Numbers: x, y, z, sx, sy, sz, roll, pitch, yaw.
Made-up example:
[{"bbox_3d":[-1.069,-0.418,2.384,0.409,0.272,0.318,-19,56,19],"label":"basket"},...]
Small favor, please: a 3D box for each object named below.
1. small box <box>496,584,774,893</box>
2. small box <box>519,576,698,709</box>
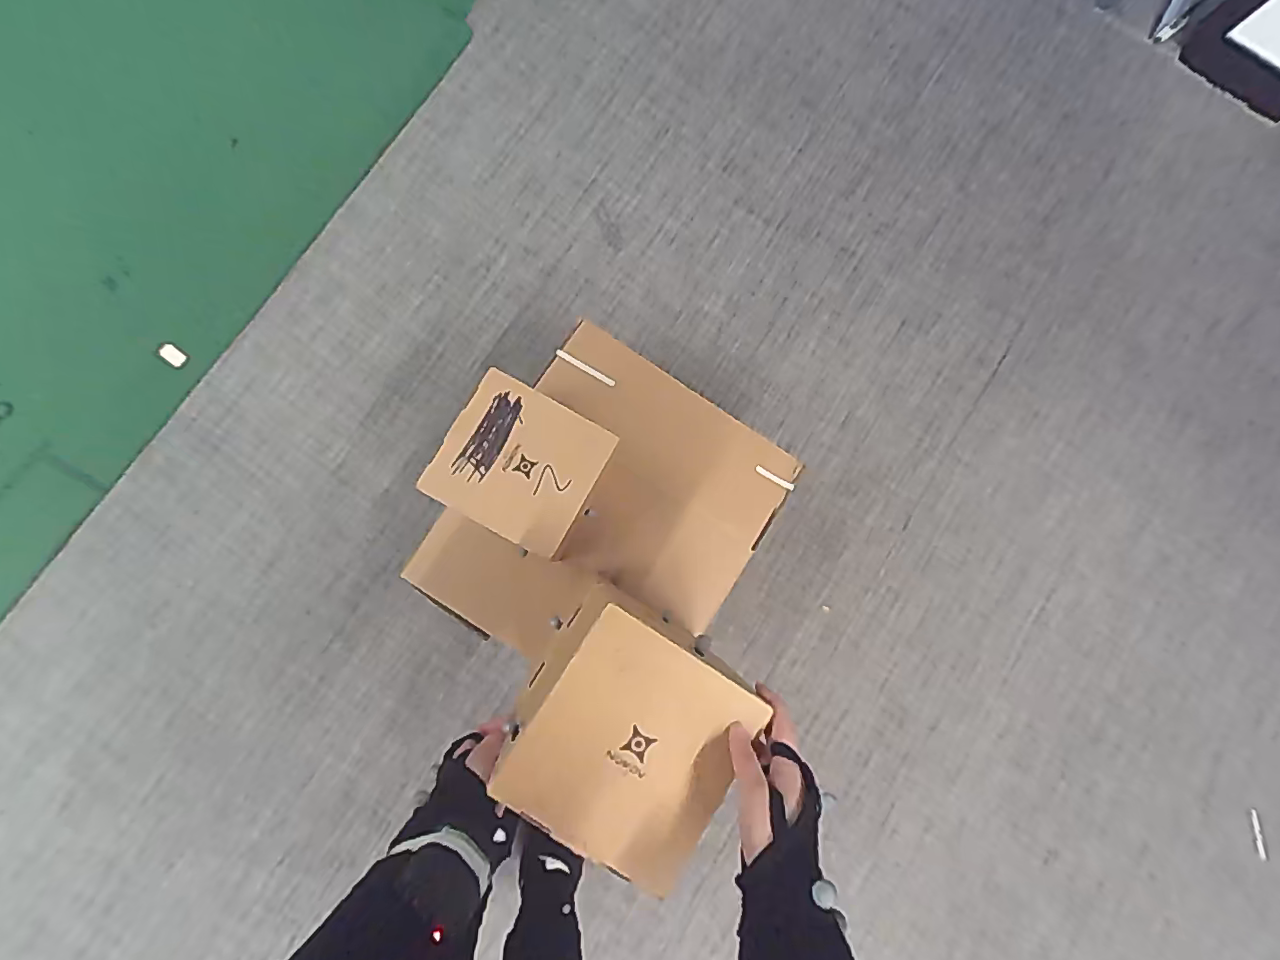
[{"bbox_3d":[-0.009,0.216,0.511,0.168,0.176,0.179,33,84,-2],"label":"small box"},{"bbox_3d":[-0.024,0.233,0.675,0.179,0.176,0.168,34,82,-1],"label":"small box"}]
